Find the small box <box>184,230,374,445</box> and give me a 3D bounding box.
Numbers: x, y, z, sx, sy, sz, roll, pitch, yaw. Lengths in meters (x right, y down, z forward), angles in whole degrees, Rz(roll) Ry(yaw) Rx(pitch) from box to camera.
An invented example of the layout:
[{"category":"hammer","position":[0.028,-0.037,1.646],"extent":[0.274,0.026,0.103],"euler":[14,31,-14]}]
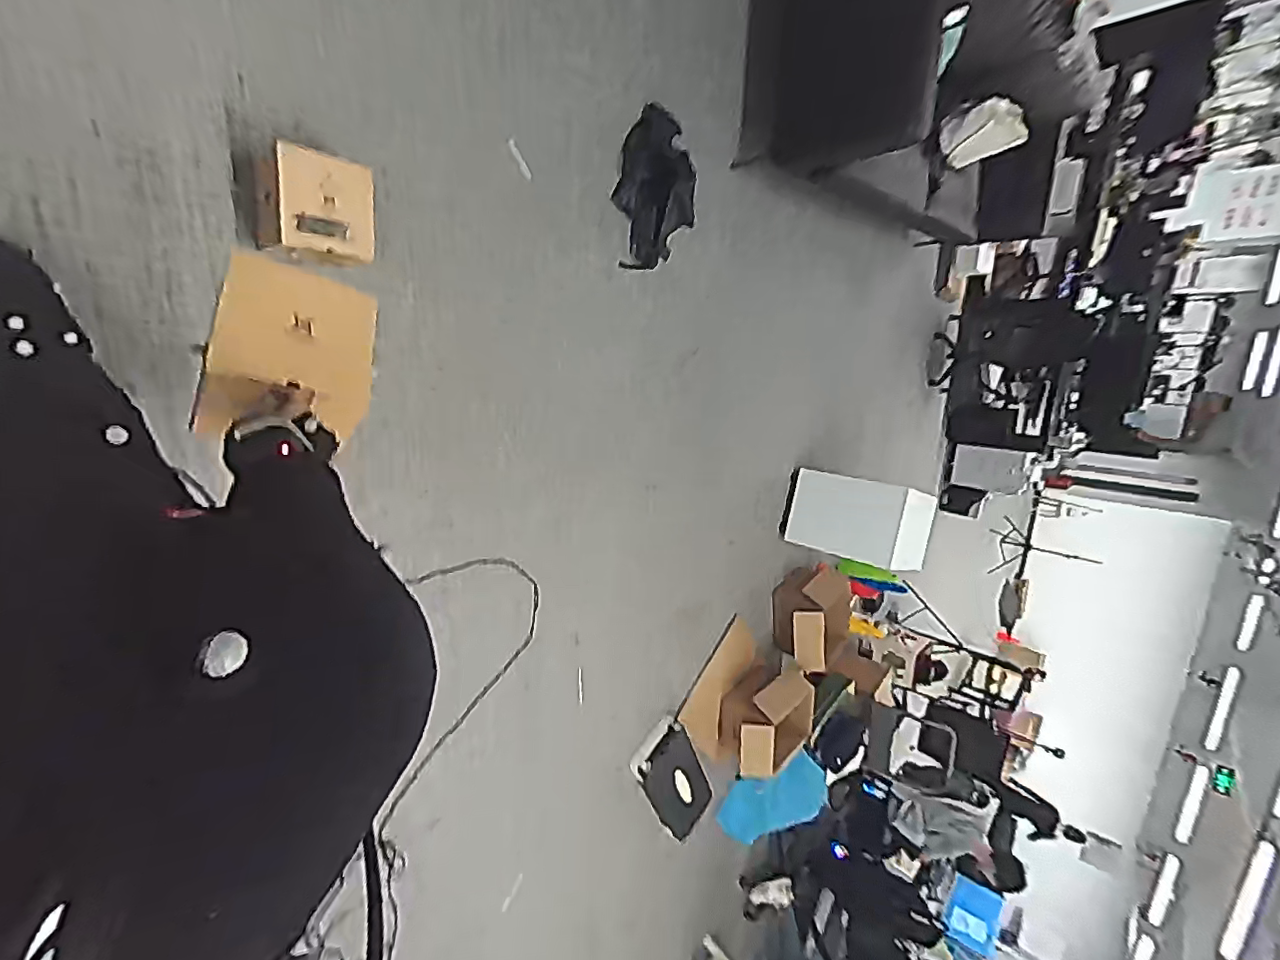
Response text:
[{"category":"small box","position":[-0.459,-0.167,0.691],"extent":[0.168,0.176,0.179],"euler":[12,62,-42]}]
